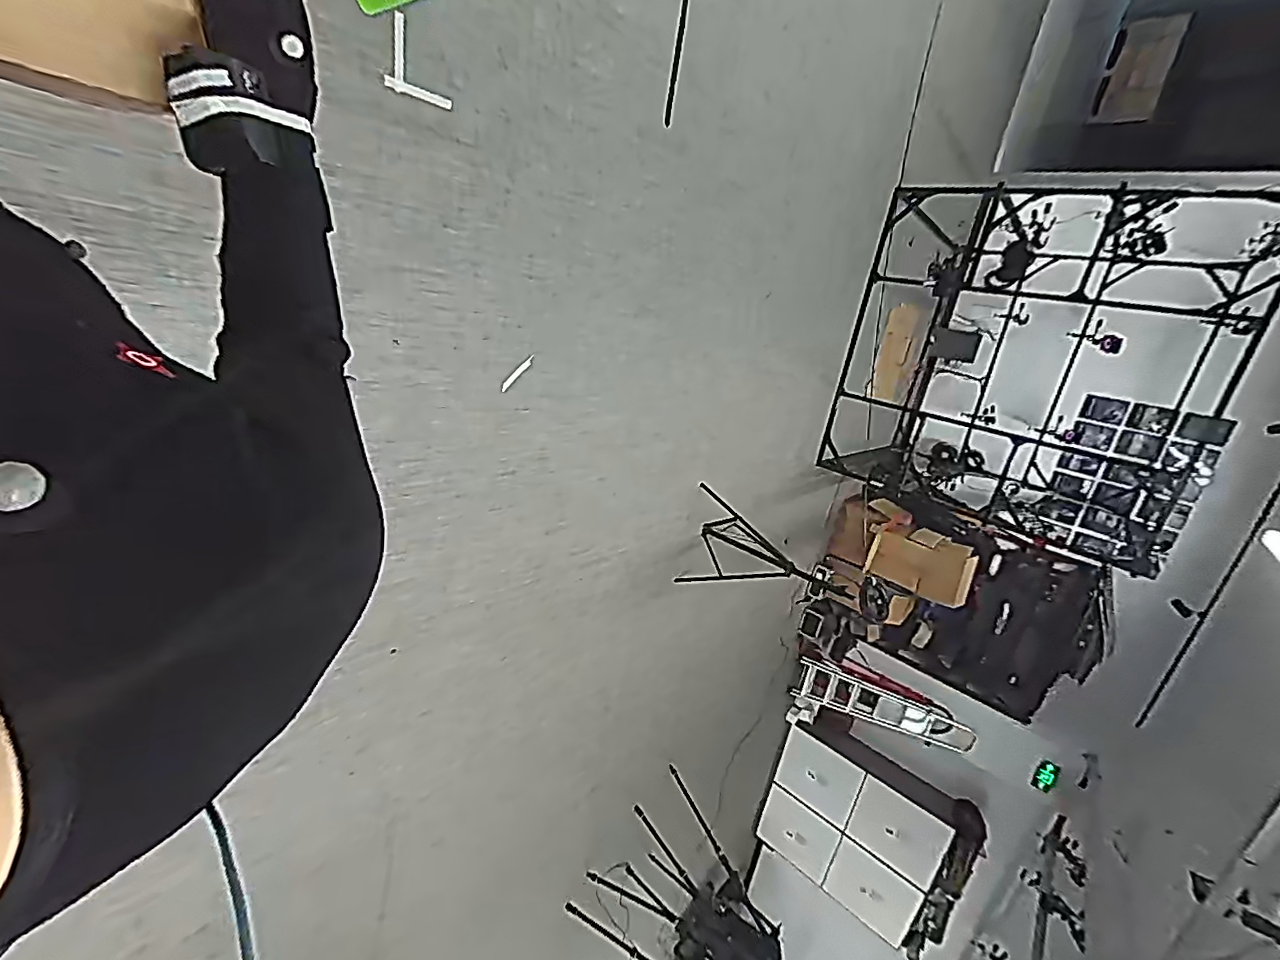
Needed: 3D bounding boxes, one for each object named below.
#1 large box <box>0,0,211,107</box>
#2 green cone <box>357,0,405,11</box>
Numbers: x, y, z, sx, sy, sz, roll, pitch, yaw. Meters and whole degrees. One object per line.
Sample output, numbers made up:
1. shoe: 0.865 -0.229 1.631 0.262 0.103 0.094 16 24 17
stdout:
1. large box: -0.518 -0.436 0.274 0.408 0.320 0.320 -12 123 -49
2. green cone: -0.447 -1.107 1.074 0.202 0.368 0.200 -49 142 -26
